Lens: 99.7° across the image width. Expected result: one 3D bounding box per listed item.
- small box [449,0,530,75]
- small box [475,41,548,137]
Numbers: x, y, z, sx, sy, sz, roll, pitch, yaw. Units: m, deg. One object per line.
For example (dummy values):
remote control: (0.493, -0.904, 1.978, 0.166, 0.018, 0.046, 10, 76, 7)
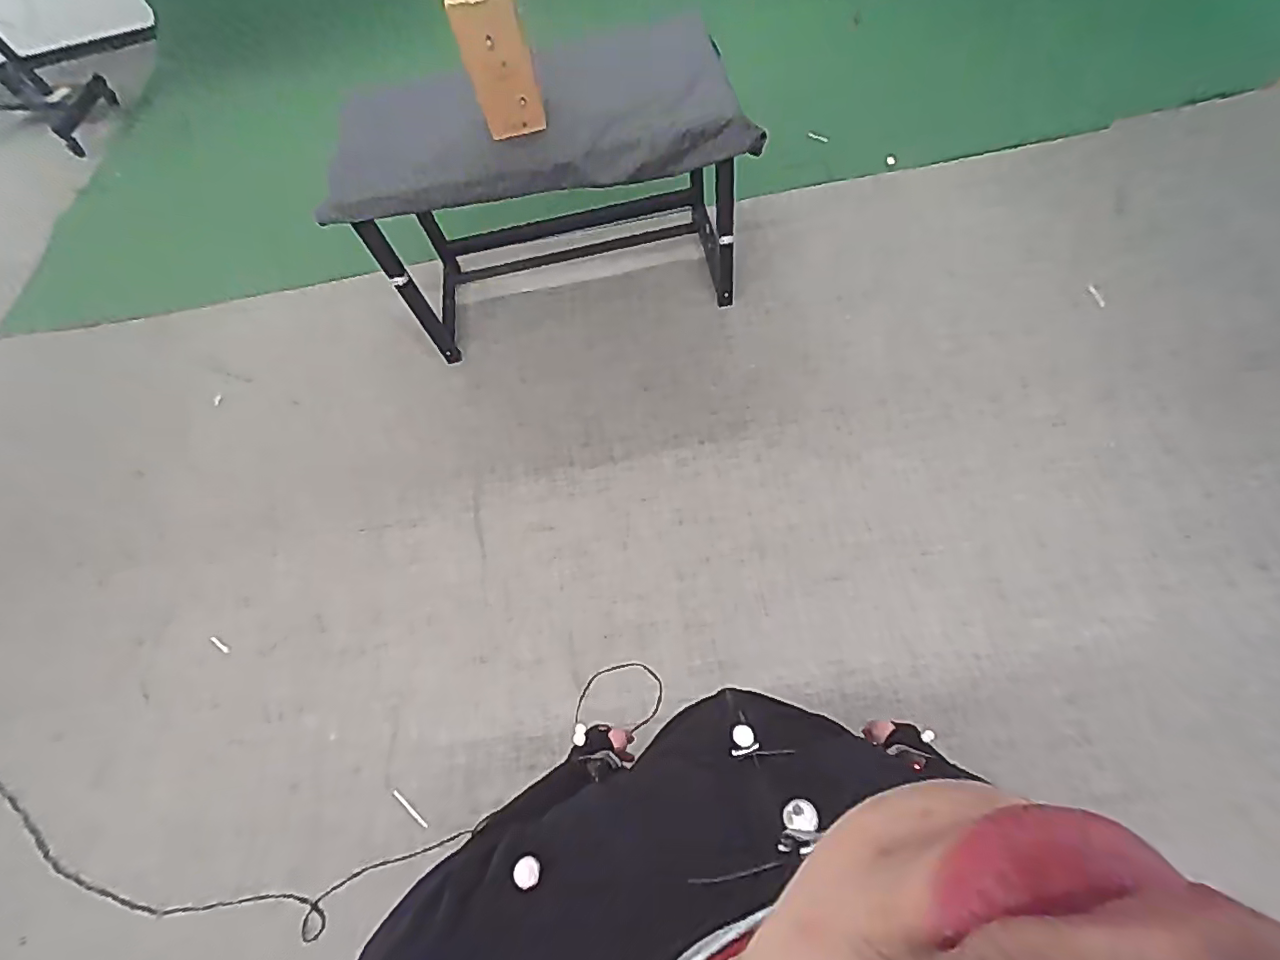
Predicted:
small box: (-0.395, -1.216, 1.442, 0.168, 0.176, 0.179, -9, 63, 2)
small box: (-0.373, -1.137, 1.584, 0.168, 0.176, 0.179, -10, 61, 1)
